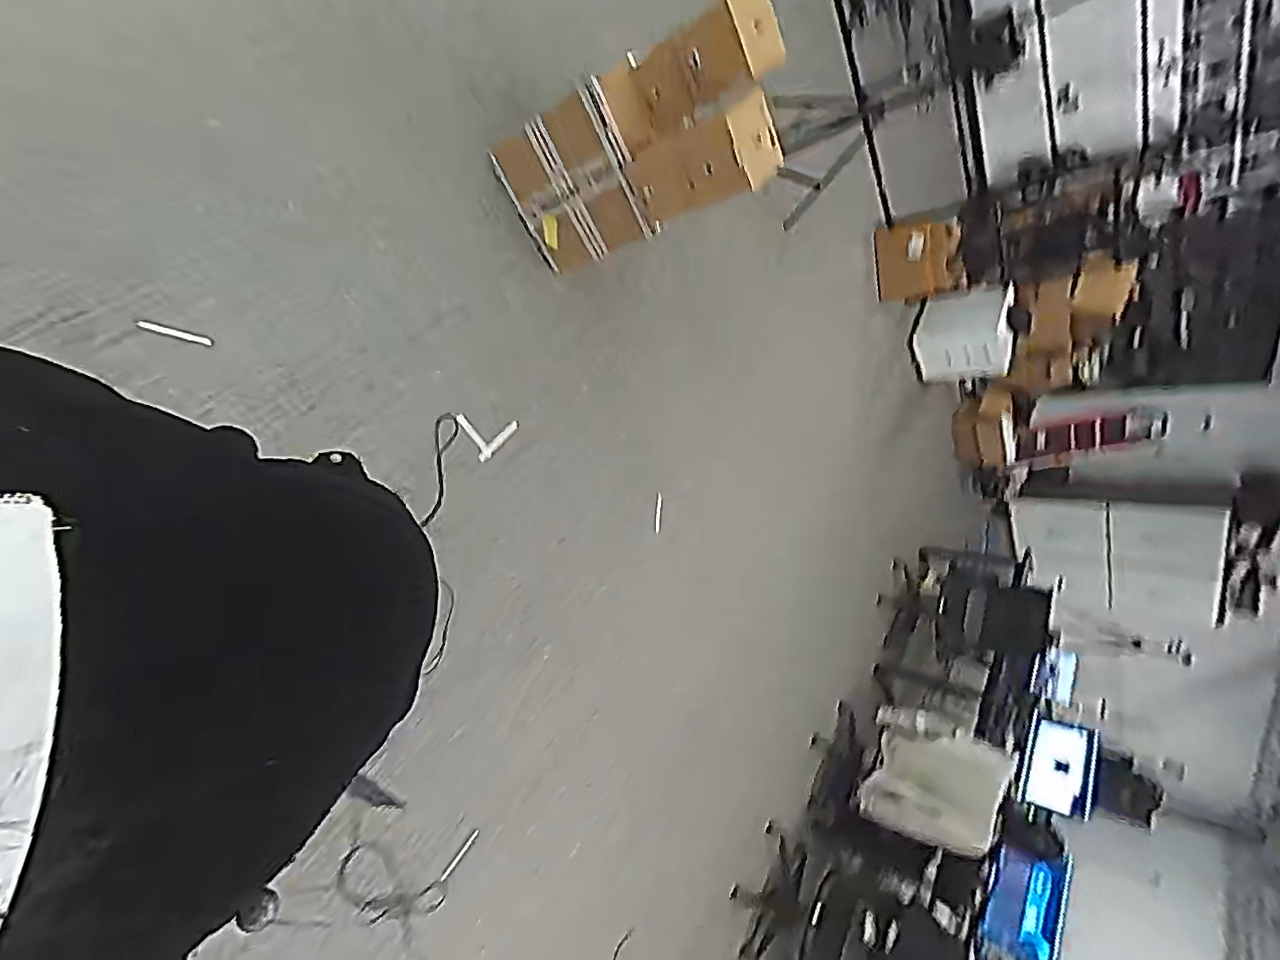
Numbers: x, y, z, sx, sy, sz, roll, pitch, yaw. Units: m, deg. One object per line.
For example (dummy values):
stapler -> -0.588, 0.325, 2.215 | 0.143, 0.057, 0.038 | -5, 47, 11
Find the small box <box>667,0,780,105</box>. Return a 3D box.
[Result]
small box -> 0.195, -1.031, 1.272 | 0.179, 0.176, 0.168 | -50, 122, -28

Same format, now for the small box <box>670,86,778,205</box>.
small box -> 0.194, -0.787, 1.287 | 0.179, 0.176, 0.168 | -50, 125, -28

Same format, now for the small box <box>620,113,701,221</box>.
small box -> 0.080, -0.806, 1.405 | 0.179, 0.176, 0.168 | -51, 125, -27

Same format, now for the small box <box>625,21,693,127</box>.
small box -> 0.094, -1.057, 1.398 | 0.179, 0.176, 0.168 | -50, 123, -28
